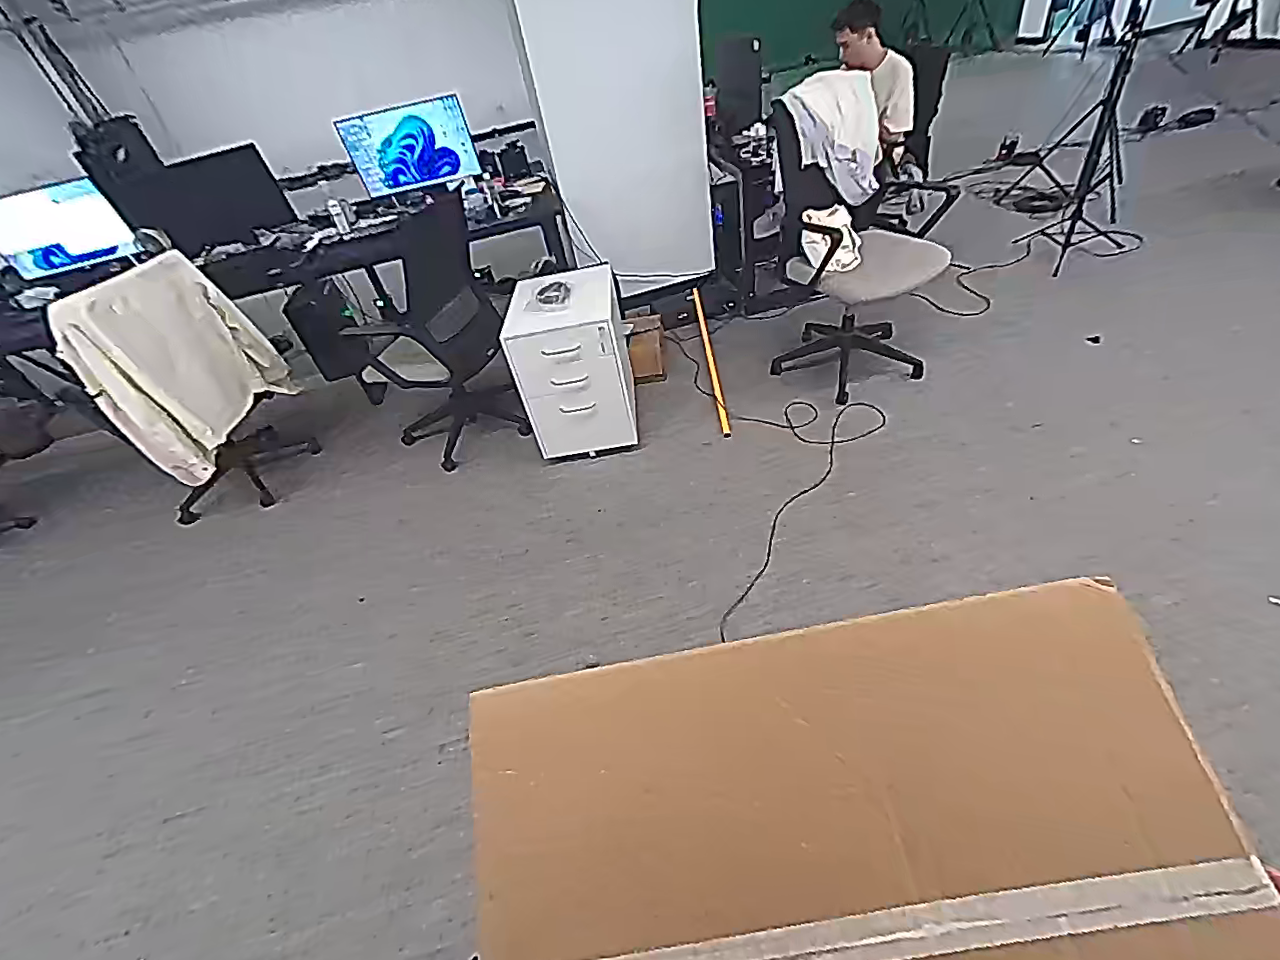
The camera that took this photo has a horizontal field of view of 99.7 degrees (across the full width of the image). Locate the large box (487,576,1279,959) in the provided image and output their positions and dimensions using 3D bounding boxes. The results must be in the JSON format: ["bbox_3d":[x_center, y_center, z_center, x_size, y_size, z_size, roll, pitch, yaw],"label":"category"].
[{"bbox_3d":[0.134,0.297,0.432,0.408,0.320,0.320,-12,68,4],"label":"large box"}]
